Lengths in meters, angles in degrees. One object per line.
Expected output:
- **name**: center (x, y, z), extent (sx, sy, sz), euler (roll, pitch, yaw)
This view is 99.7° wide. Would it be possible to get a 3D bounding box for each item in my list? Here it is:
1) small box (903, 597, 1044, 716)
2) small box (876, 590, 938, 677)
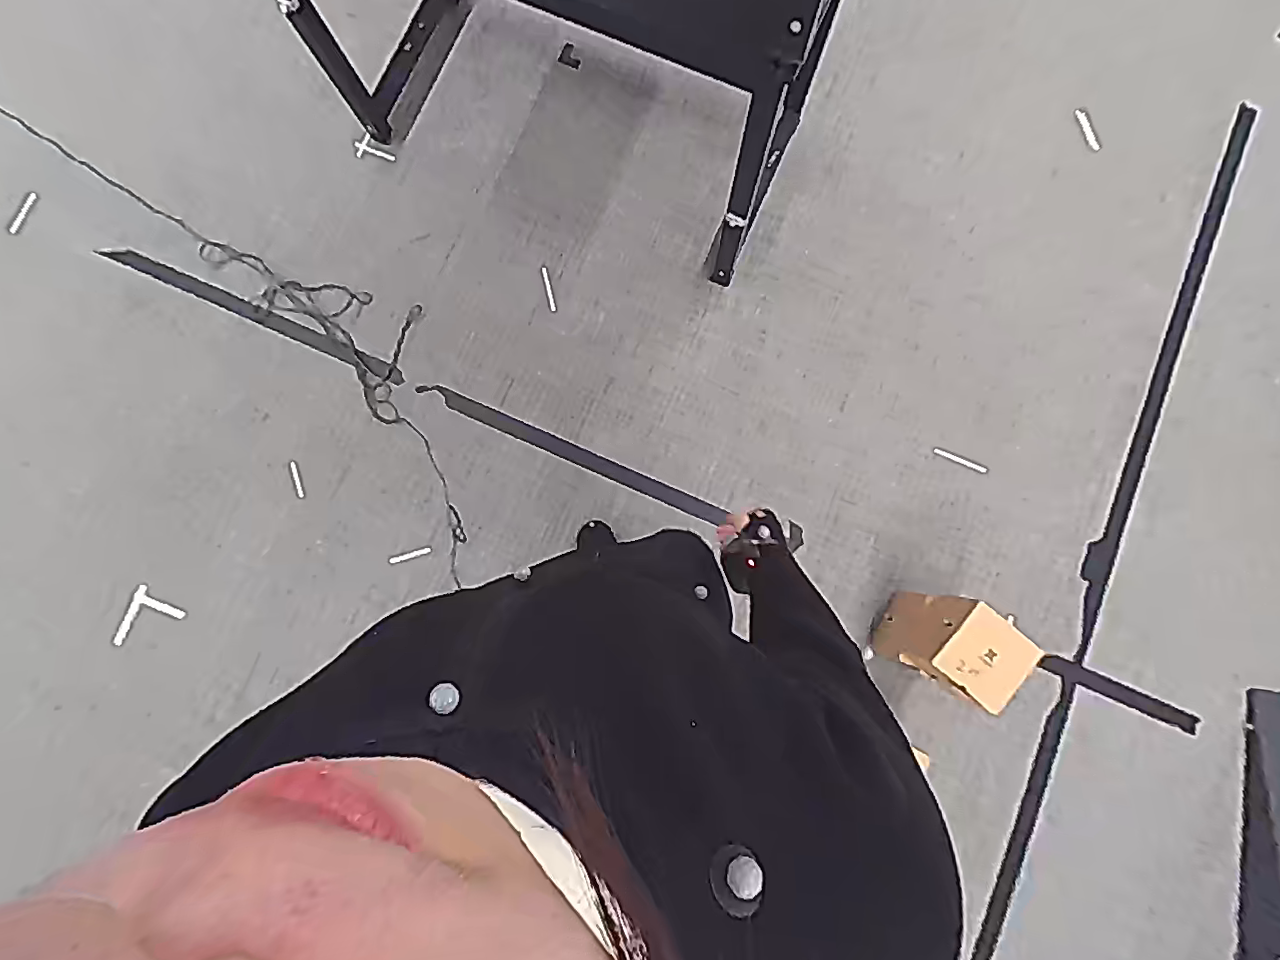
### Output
- **small box**: center (0.730, 0.380, 1.208), extent (0.168, 0.176, 0.179), euler (41, 86, 6)
- **small box**: center (0.730, 0.398, 1.373), extent (0.168, 0.176, 0.179), euler (28, 86, 4)
